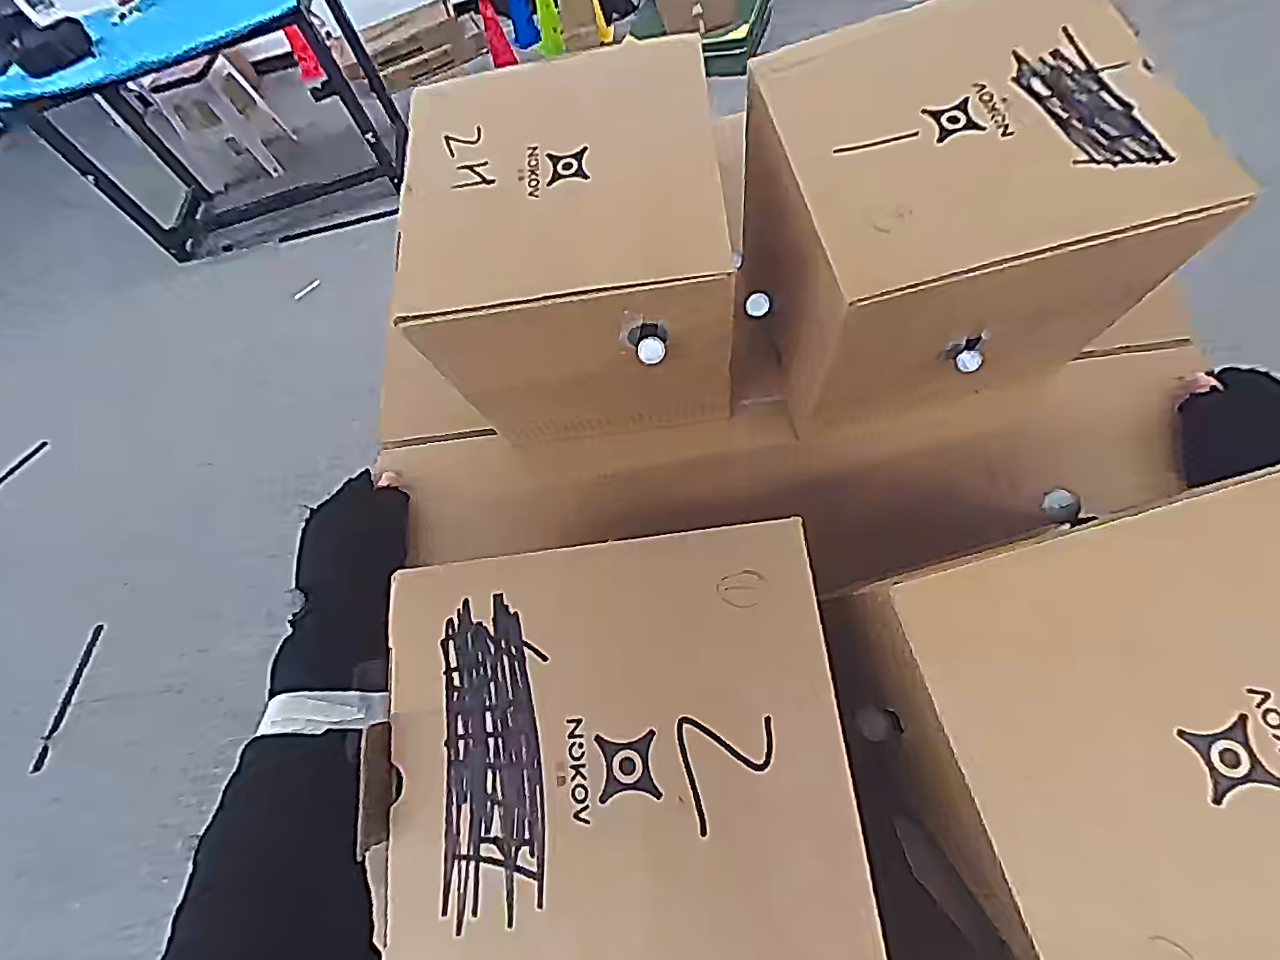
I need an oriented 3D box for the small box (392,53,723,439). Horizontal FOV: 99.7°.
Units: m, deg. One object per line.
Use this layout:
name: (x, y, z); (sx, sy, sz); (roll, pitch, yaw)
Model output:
small box: (-0.038, -0.139, 0.375); (0.179, 0.176, 0.168); (-6, 71, 7)
